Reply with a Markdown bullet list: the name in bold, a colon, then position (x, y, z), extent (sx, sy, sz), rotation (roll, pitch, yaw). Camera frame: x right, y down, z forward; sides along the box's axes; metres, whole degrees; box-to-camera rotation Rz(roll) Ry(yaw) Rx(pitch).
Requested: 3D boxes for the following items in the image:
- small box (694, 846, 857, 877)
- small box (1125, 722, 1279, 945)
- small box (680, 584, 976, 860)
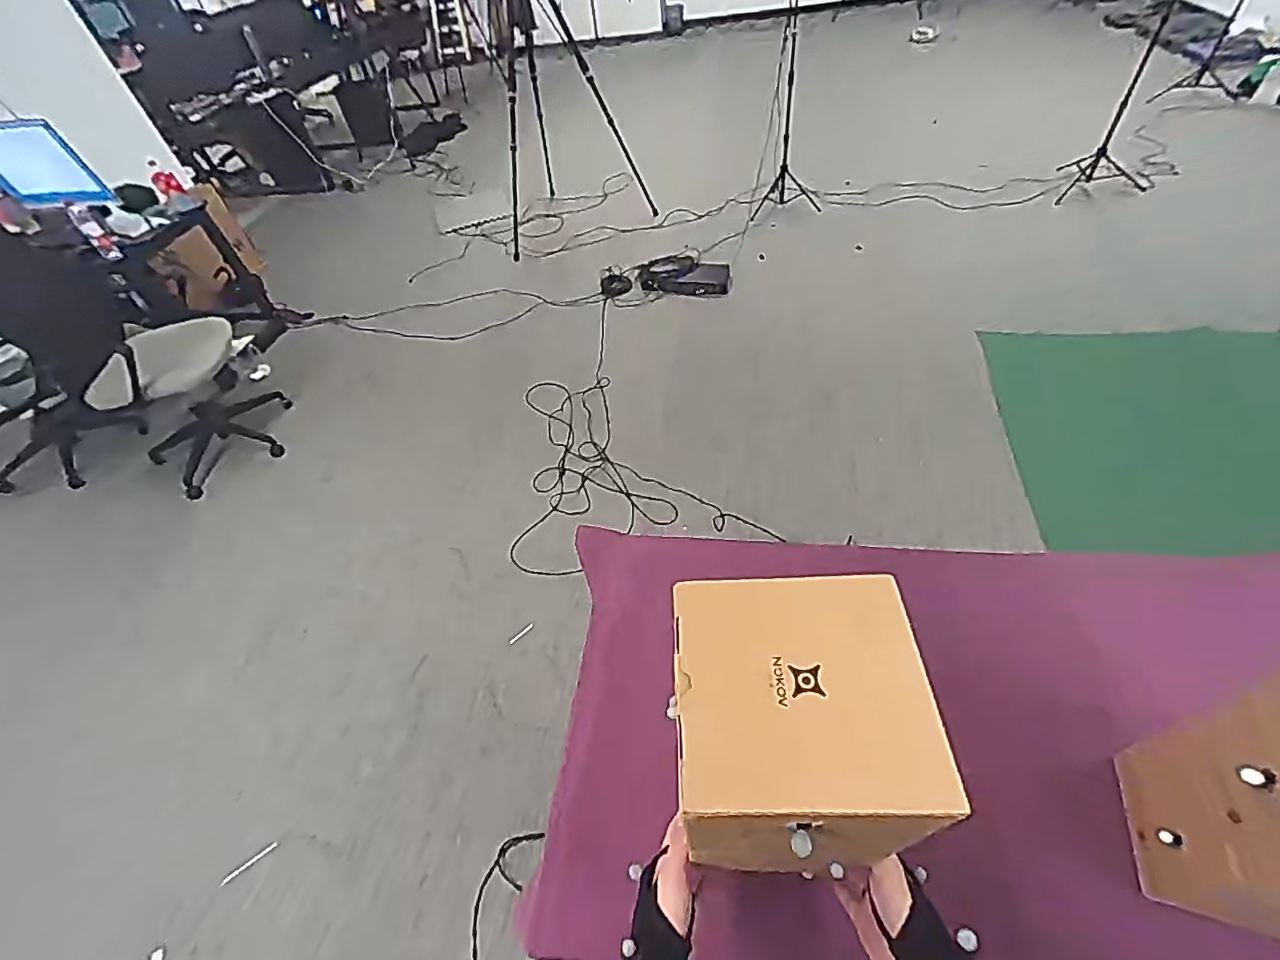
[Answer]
- **small box**: position (0.158, 0.398, 0.694), extent (0.179, 0.176, 0.168), rotation (-2, 49, 7)
- **small box**: position (0.696, 0.405, 0.609), extent (0.179, 0.176, 0.168), rotation (11, 51, 17)
- **small box**: position (0.124, 0.198, 0.438), extent (0.179, 0.176, 0.168), rotation (-3, 50, 5)
